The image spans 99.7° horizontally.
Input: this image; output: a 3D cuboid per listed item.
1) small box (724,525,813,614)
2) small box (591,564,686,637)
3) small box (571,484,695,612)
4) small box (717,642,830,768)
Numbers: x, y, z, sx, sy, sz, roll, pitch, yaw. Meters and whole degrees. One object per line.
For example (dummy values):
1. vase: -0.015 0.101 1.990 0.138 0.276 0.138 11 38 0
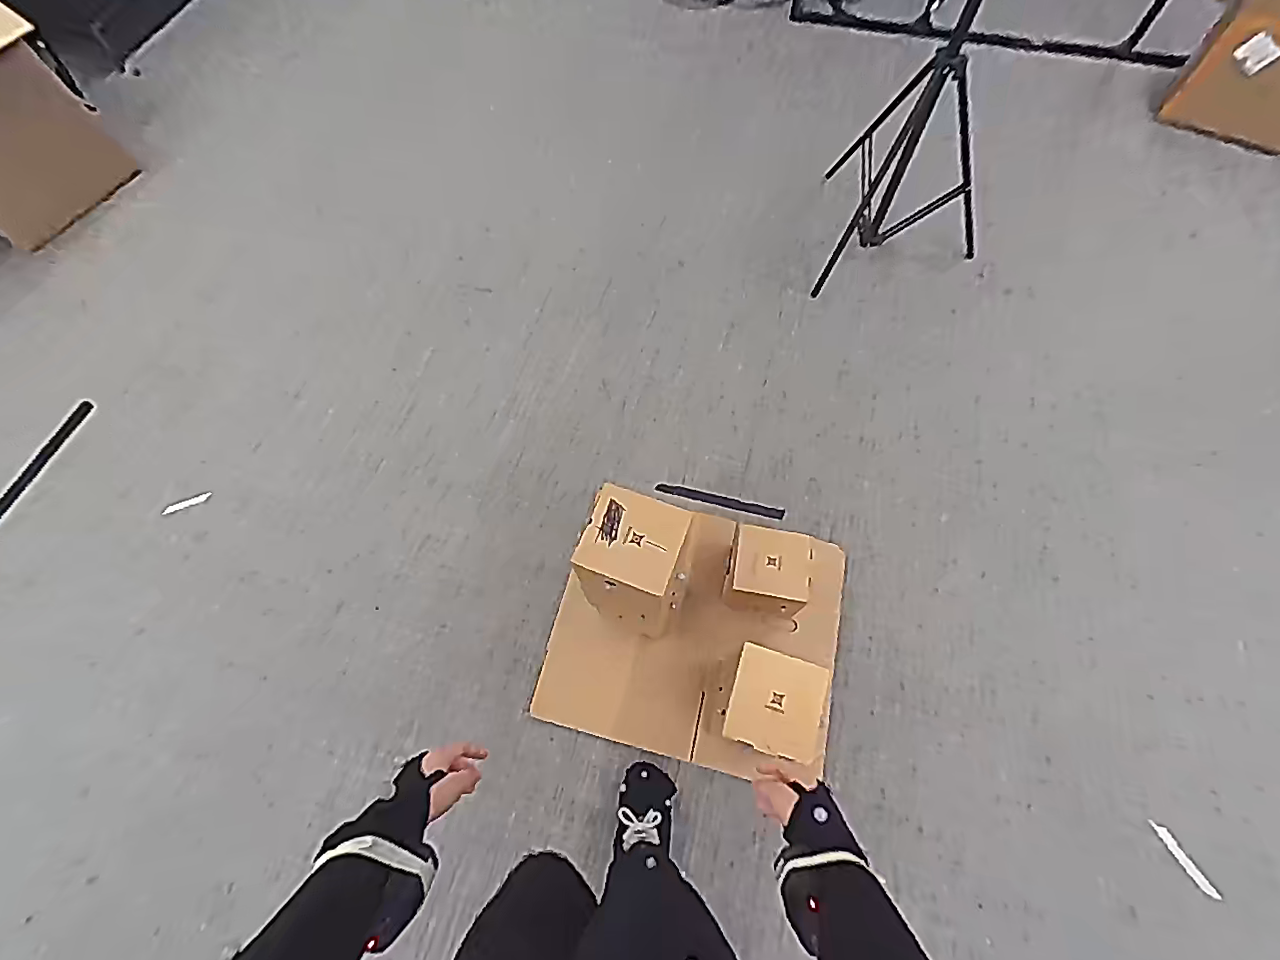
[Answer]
1. small box: 0.314 0.226 1.336 0.179 0.176 0.168 9 65 5
2. small box: 0.001 0.269 1.324 0.179 0.176 0.168 21 68 12
3. small box: -0.009 0.136 1.024 0.179 0.176 0.168 19 68 10
4. small box: 0.254 0.438 1.061 0.168 0.176 0.179 16 69 9
